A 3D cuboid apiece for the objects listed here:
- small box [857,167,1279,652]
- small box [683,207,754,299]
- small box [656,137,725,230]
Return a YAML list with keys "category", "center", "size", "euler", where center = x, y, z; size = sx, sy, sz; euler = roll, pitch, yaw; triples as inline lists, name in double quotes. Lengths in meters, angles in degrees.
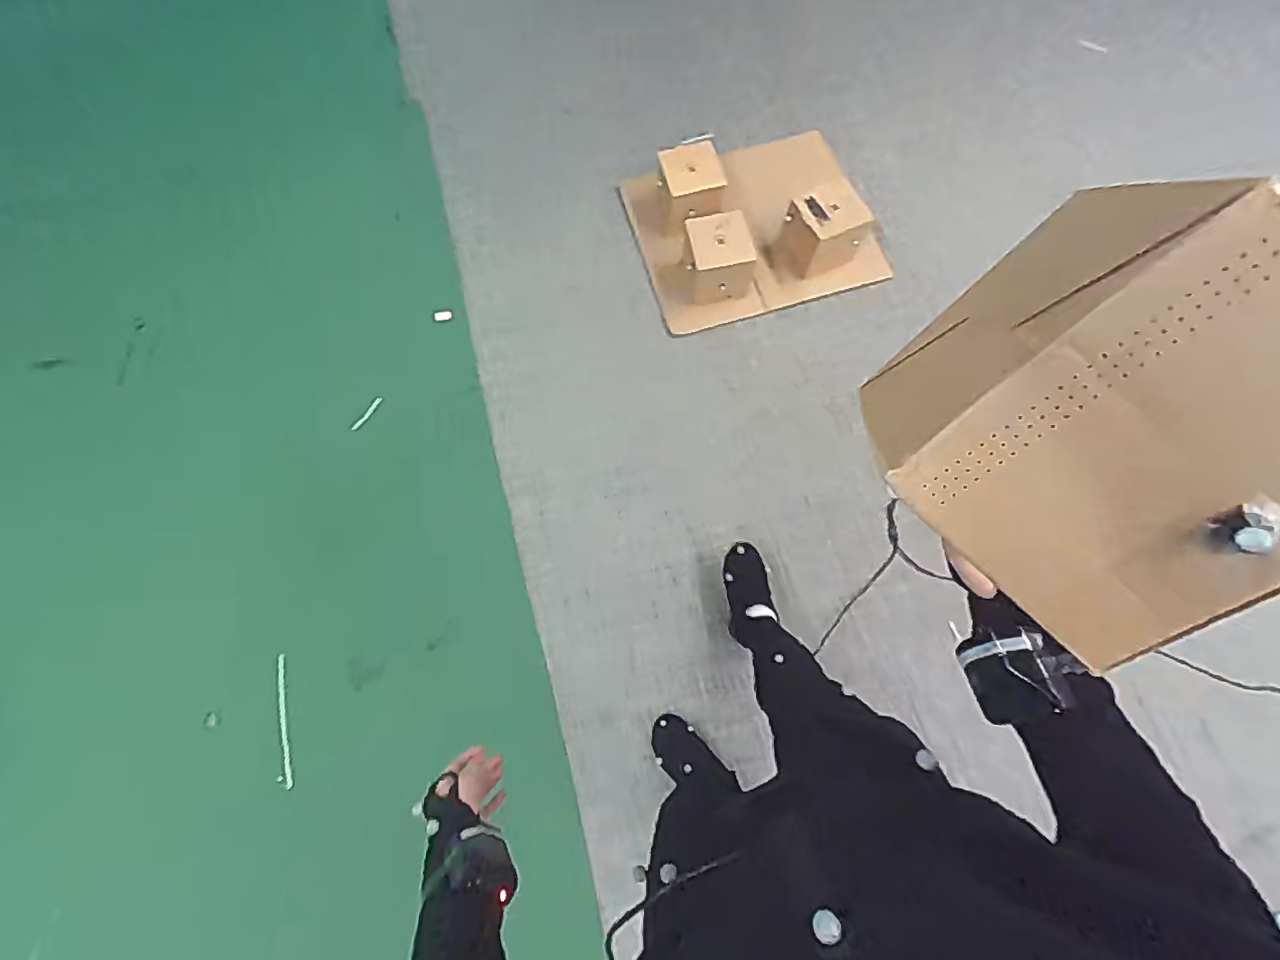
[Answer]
- category: "small box"
  center: [0.258, -0.045, 0.312]
  size: [0.176, 0.168, 0.179]
  euler: [42, 120, -5]
- category: "small box"
  center: [0.221, -0.646, 1.562]
  size: [0.168, 0.176, 0.179]
  euler: [-10, 72, -2]
- category: "small box"
  center: [0.150, -0.888, 1.641]
  size: [0.168, 0.176, 0.179]
  euler: [-14, 72, -3]
